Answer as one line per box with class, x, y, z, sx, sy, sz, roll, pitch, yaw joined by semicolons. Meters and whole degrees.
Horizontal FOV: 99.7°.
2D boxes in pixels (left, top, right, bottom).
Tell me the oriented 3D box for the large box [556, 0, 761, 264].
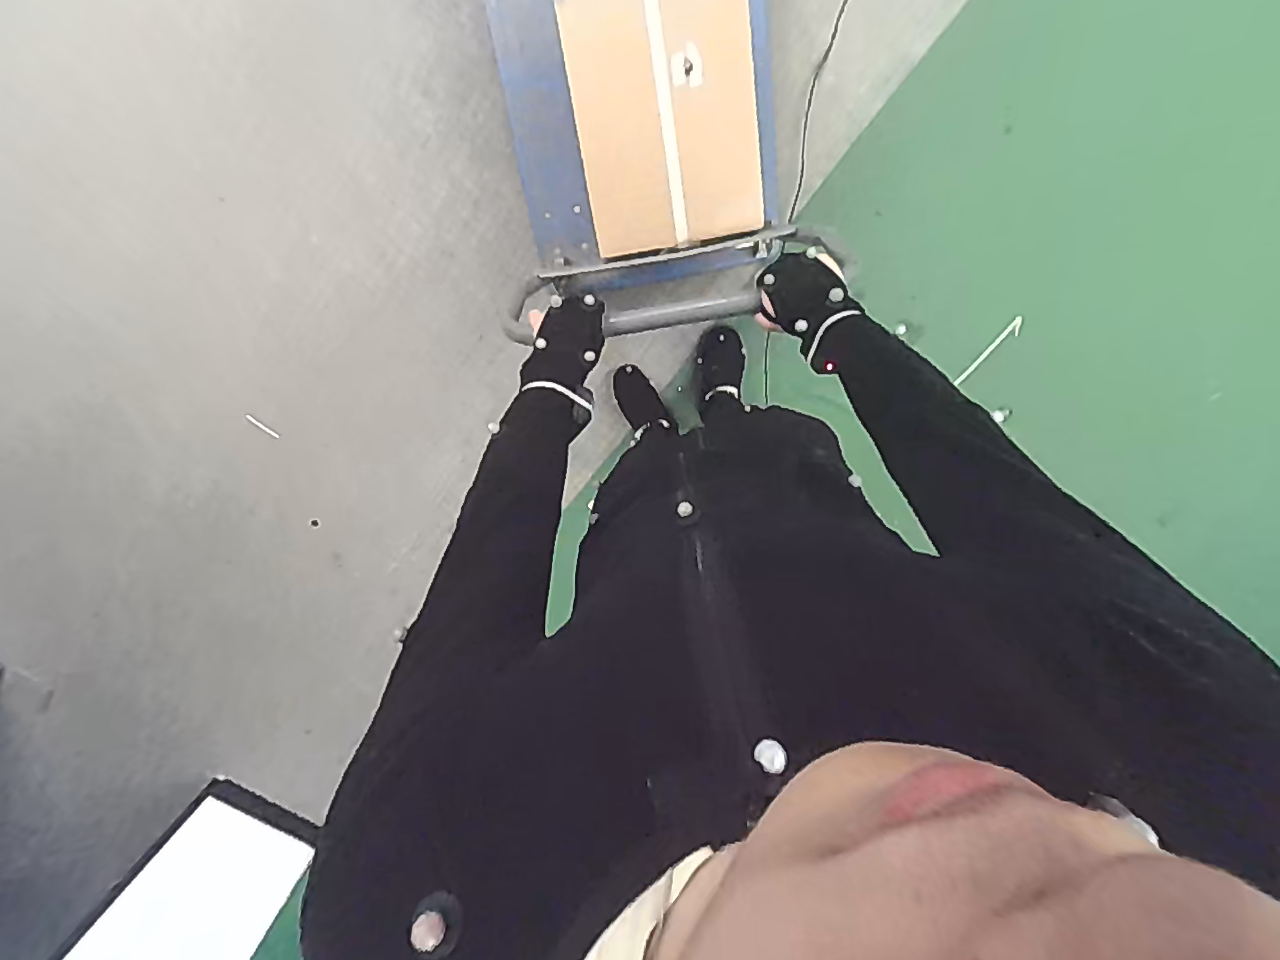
large box;0.047;-0.682;1.104;0.320;0.320;0.408;-9;111;4
